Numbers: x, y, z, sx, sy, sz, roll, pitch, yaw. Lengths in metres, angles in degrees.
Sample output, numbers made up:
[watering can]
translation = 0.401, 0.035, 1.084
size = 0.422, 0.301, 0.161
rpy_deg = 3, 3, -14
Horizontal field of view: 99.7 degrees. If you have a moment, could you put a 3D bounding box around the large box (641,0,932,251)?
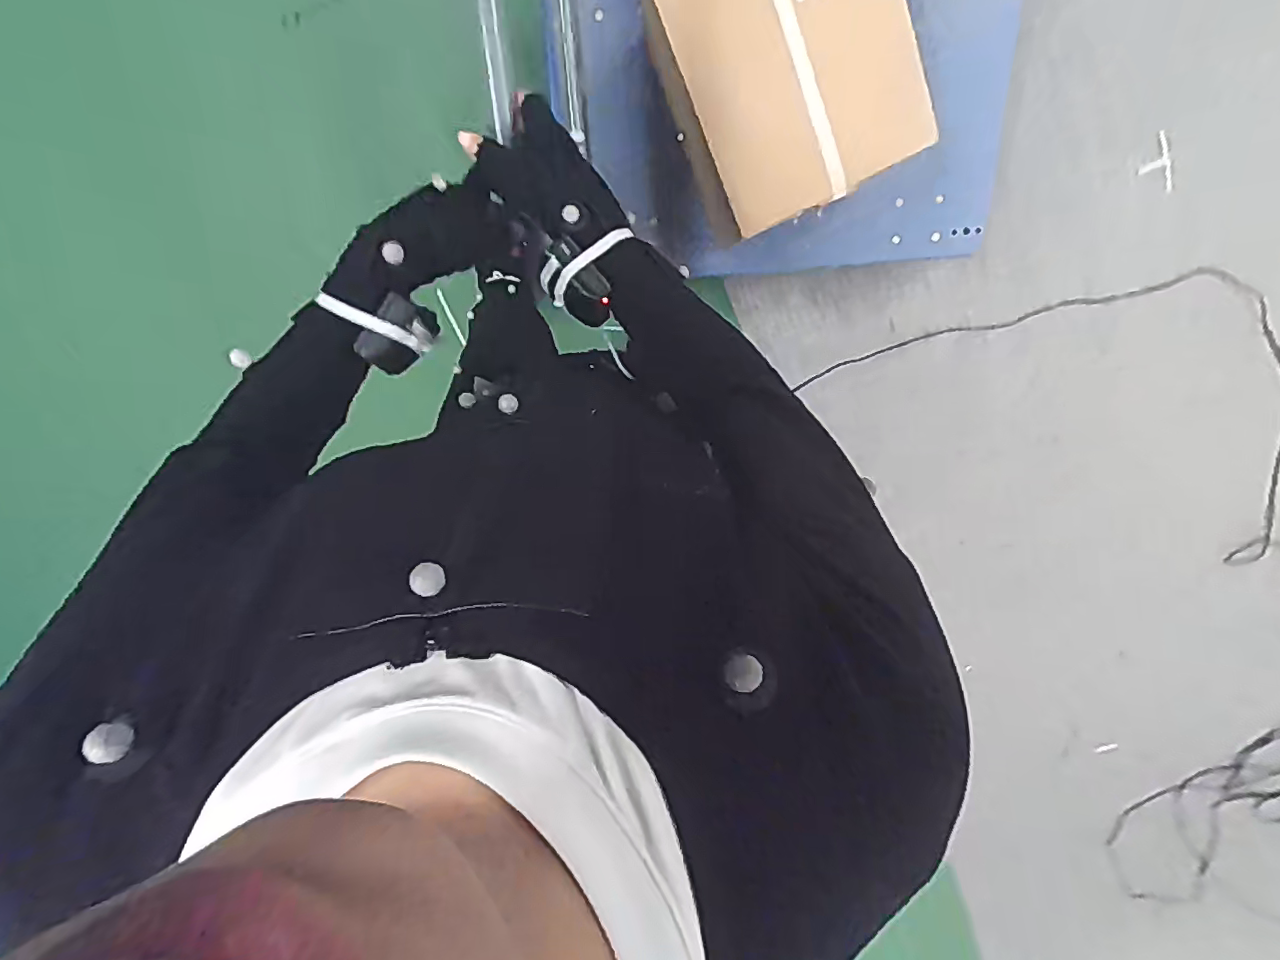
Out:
[large box]
translation = 0.222, -0.655, 0.910
size = 0.320, 0.320, 0.408
rpy_deg = -23, 107, 9
